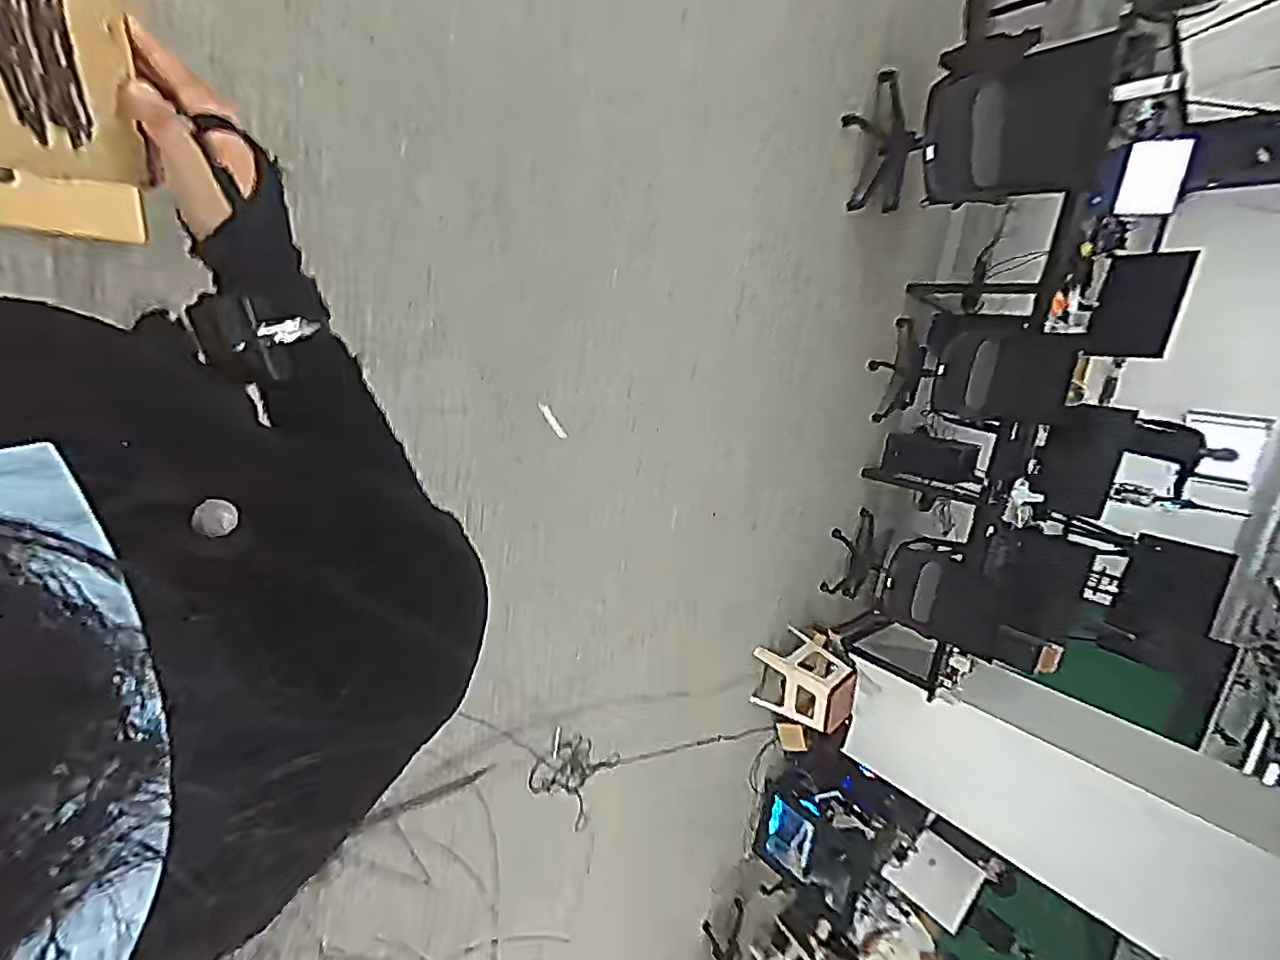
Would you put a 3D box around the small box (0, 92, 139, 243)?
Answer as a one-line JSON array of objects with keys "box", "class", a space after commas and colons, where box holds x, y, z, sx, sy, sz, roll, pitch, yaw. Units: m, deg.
[{"box": [-0.882, -0.457, 0.807, 0.179, 0.176, 0.168, -9, 111, -41], "class": "small box"}]
